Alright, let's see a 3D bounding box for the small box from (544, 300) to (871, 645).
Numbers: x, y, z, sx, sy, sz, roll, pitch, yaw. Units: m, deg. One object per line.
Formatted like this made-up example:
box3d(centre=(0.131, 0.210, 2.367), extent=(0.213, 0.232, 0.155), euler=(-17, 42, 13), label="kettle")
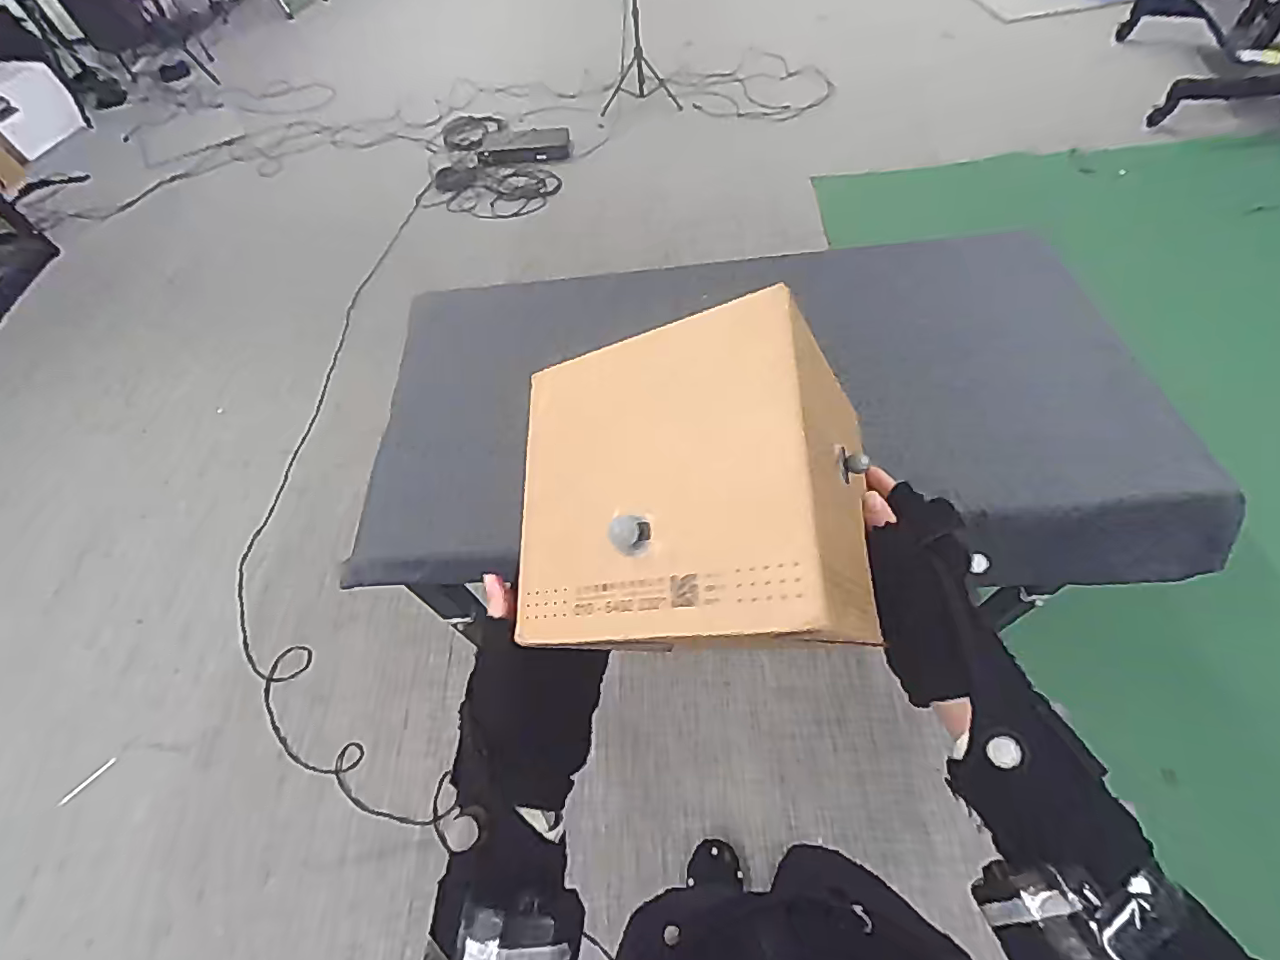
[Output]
box3d(centre=(0.048, 0.020, 0.363), extent=(0.168, 0.179, 0.176), euler=(-12, 68, 28), label="small box")
